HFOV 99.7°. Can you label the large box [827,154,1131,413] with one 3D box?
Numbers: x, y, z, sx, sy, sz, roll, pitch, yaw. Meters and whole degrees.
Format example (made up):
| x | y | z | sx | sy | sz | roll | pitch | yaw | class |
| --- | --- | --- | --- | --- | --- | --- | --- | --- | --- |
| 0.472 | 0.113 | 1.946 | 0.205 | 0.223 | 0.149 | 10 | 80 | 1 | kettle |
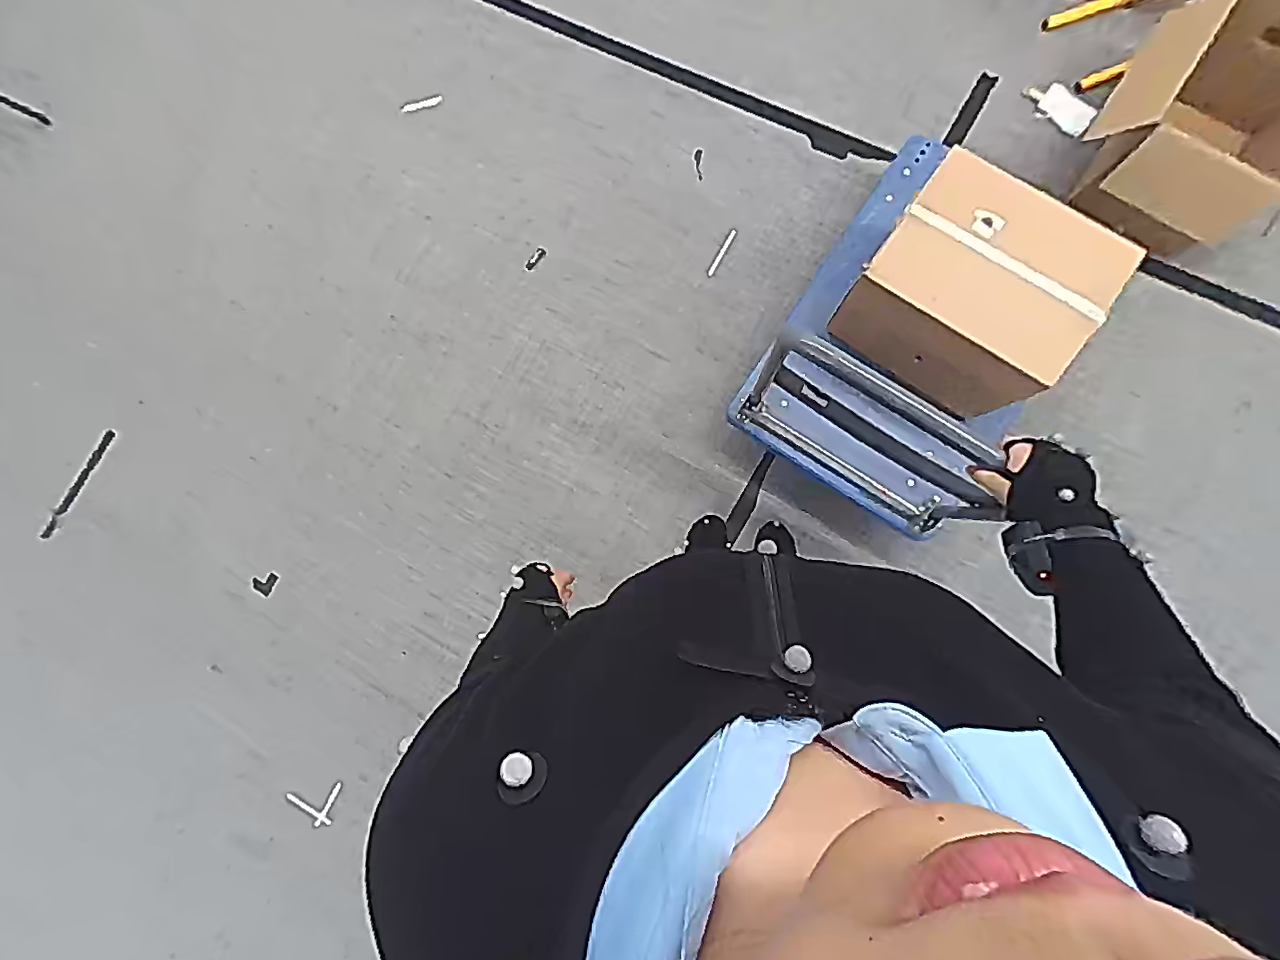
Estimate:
| x | y | z | sx | sy | sz | roll | pitch | yaw | class |
| --- | --- | --- | --- | --- | --- | --- | --- | --- | --- |
| 0.694 | -0.400 | 1.184 | 0.408 | 0.320 | 0.320 | 35 | 88 | 9 | large box |
